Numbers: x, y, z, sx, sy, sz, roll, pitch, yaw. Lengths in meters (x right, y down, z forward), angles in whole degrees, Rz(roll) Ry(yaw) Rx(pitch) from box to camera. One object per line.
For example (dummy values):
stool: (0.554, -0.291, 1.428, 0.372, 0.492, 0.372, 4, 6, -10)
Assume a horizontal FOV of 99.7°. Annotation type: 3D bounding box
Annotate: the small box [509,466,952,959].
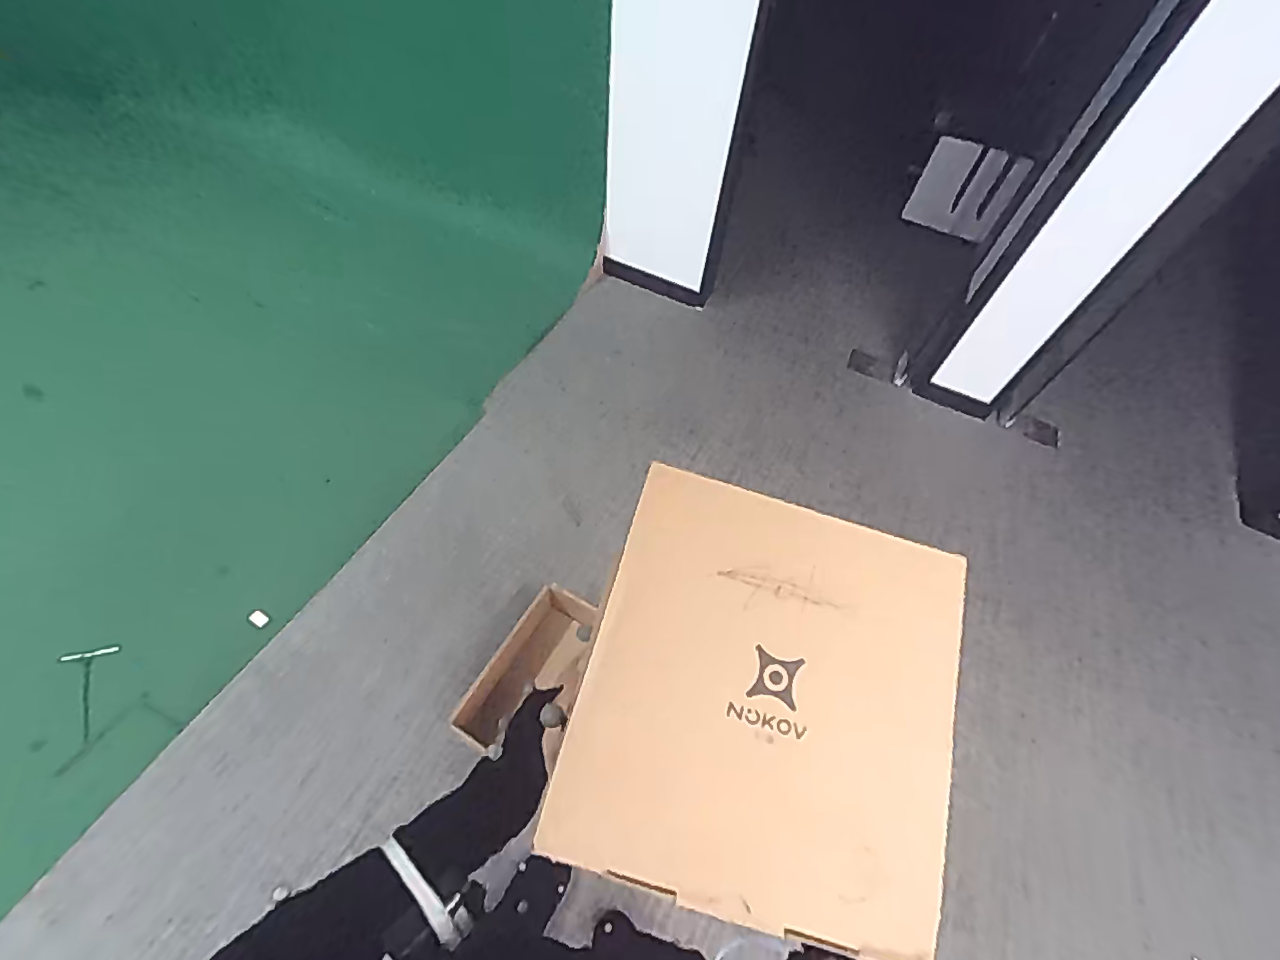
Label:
small box: (0.044, 0.122, 0.313, 0.168, 0.176, 0.179, 18, 68, 1)
